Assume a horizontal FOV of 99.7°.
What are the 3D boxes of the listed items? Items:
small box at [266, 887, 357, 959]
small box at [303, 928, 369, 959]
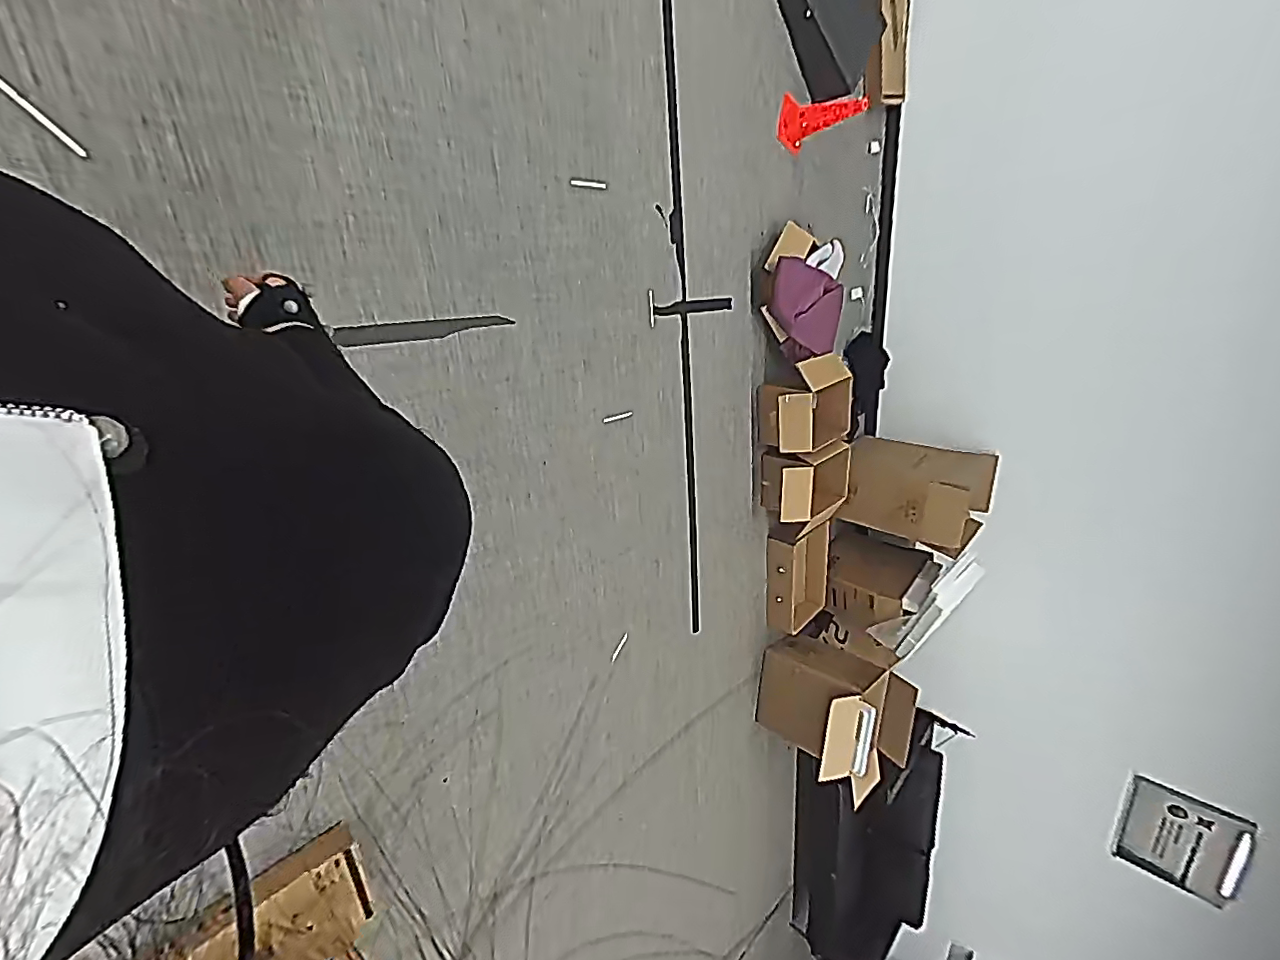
[{"bbox_3d":[-0.862,1.235,1.433,0.168,0.176,0.179,-20,115,-41],"label":"small box"},{"bbox_3d":[-0.745,1.266,1.325,0.168,0.176,0.179,-28,120,-38],"label":"small box"}]
